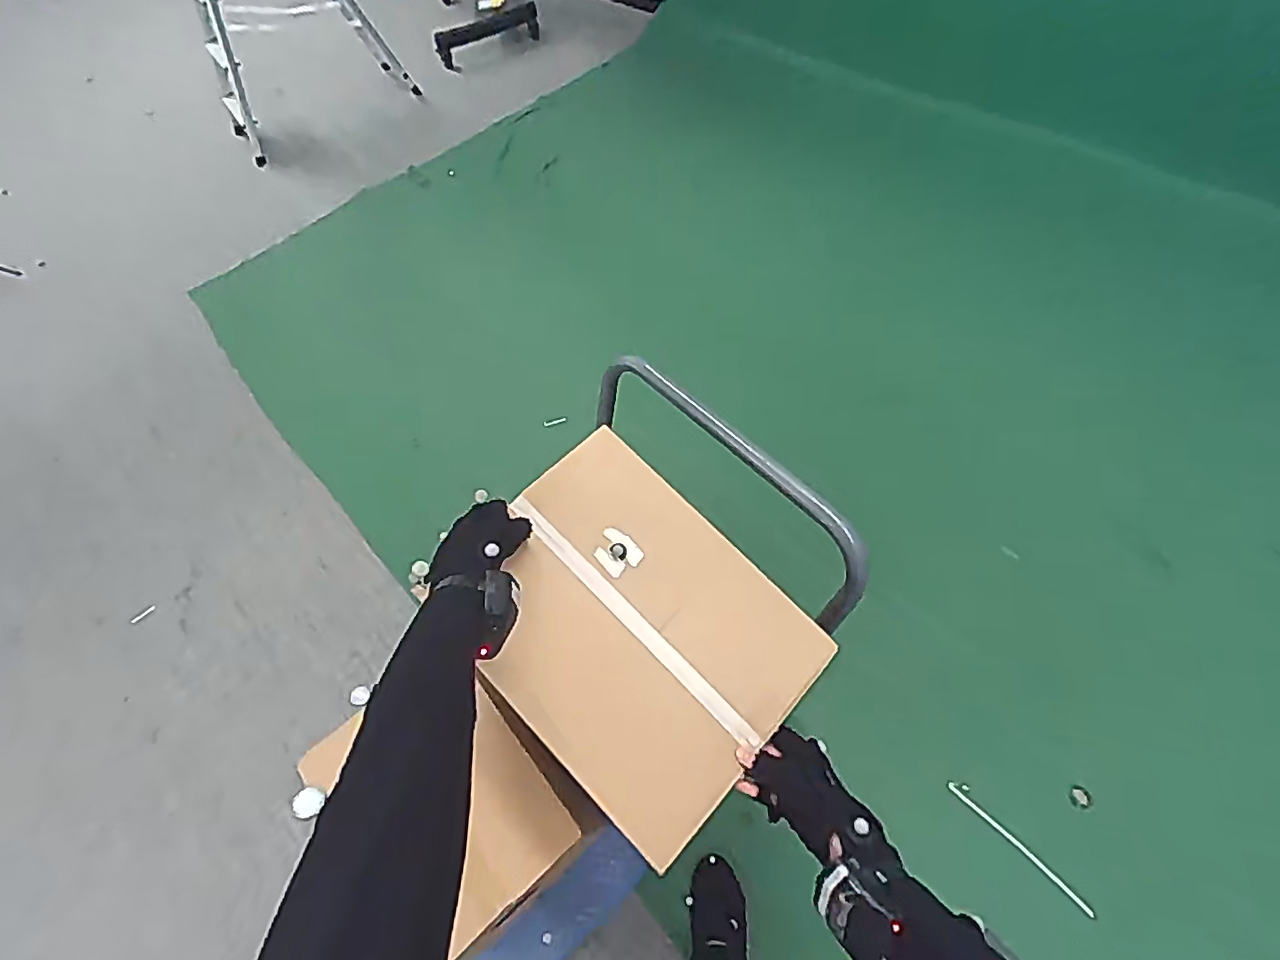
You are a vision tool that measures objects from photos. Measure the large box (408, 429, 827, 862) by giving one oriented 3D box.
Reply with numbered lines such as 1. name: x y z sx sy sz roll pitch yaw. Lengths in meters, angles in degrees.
1. large box: -0.032 0.213 0.766 0.408 0.320 0.320 44 71 12
